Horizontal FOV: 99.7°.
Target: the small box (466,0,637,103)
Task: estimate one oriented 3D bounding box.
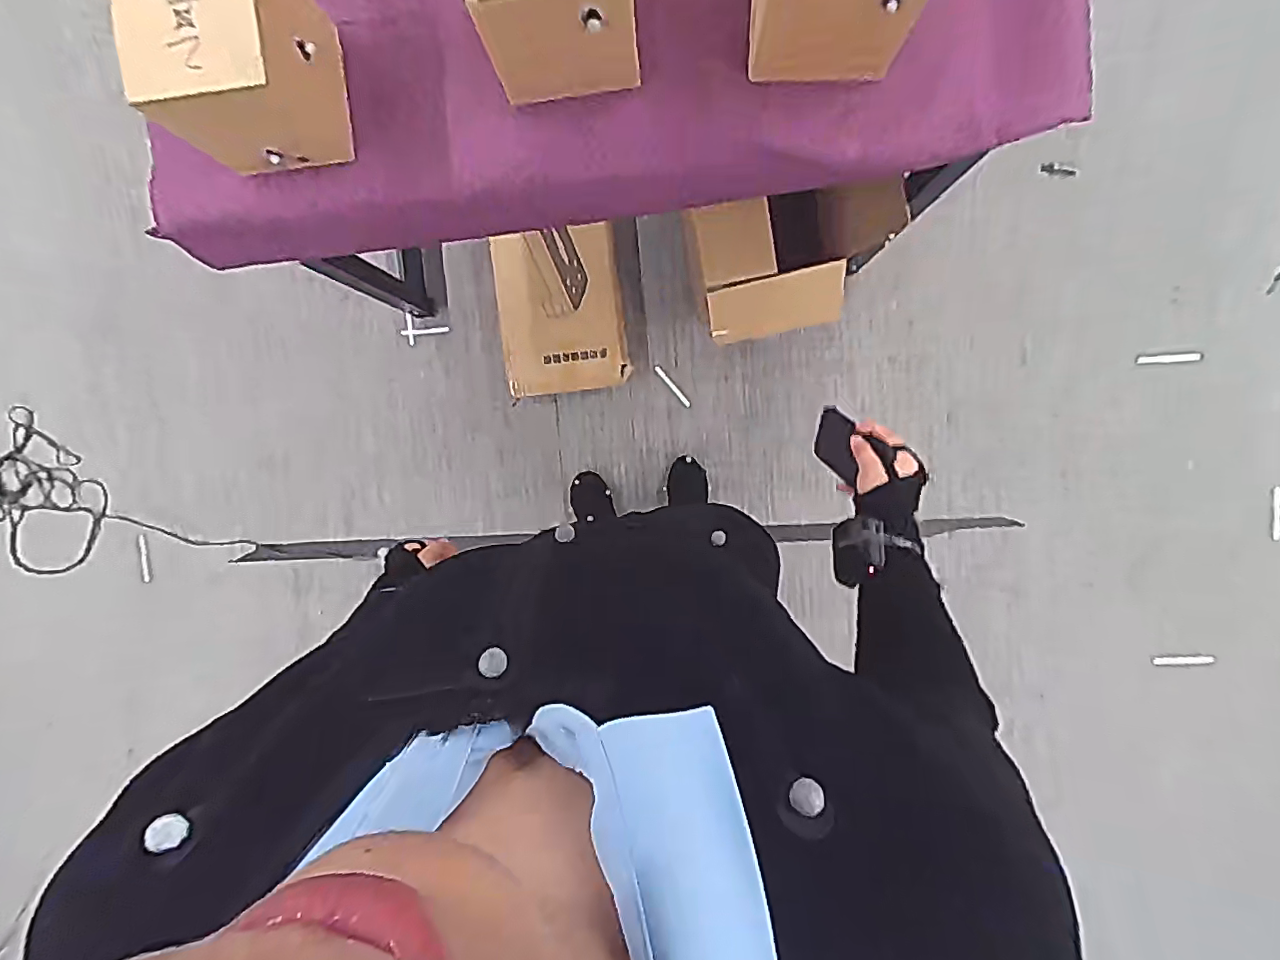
[{"bbox_3d":[-0.096,-0.582,0.629,0.179,0.176,0.168,-6,92,4],"label":"small box"}]

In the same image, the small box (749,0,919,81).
[{"bbox_3d":[0.222,-0.588,0.611,0.179,0.176,0.168,2,94,3],"label":"small box"}]
